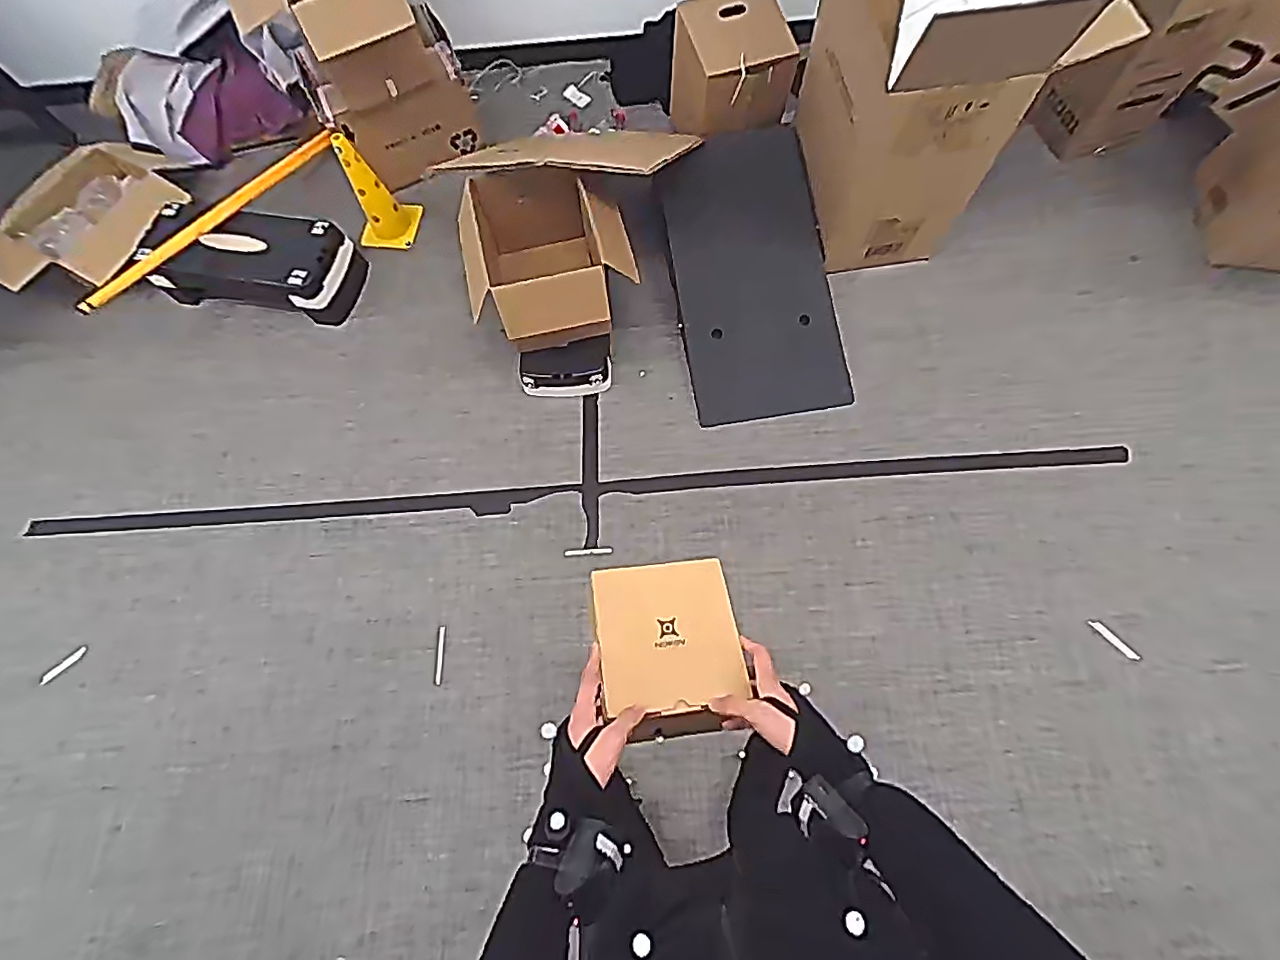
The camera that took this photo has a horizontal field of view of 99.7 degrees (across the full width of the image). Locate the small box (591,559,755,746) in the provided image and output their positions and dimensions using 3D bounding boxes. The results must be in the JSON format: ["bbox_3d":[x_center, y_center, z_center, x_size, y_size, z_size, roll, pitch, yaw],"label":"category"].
[{"bbox_3d":[0.027,0.220,0.686,0.168,0.176,0.179,-4,57,-9],"label":"small box"}]
